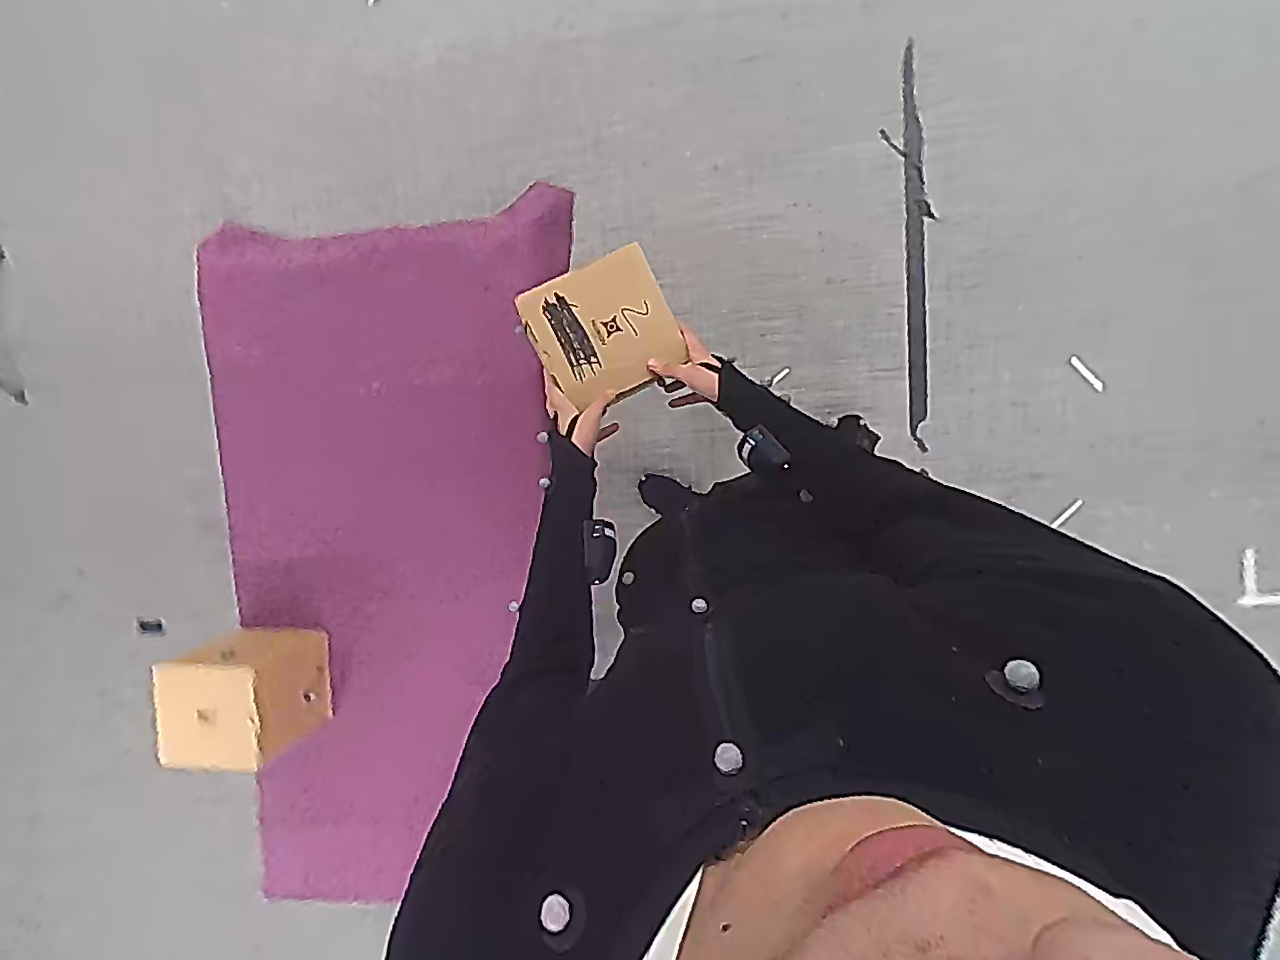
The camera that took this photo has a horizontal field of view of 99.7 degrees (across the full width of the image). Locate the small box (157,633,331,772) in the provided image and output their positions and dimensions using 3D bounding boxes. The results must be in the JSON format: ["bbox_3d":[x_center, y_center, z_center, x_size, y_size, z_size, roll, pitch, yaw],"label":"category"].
[{"bbox_3d":[-0.668,0.370,0.927,0.179,0.176,0.168,-2,93,6],"label":"small box"}]
